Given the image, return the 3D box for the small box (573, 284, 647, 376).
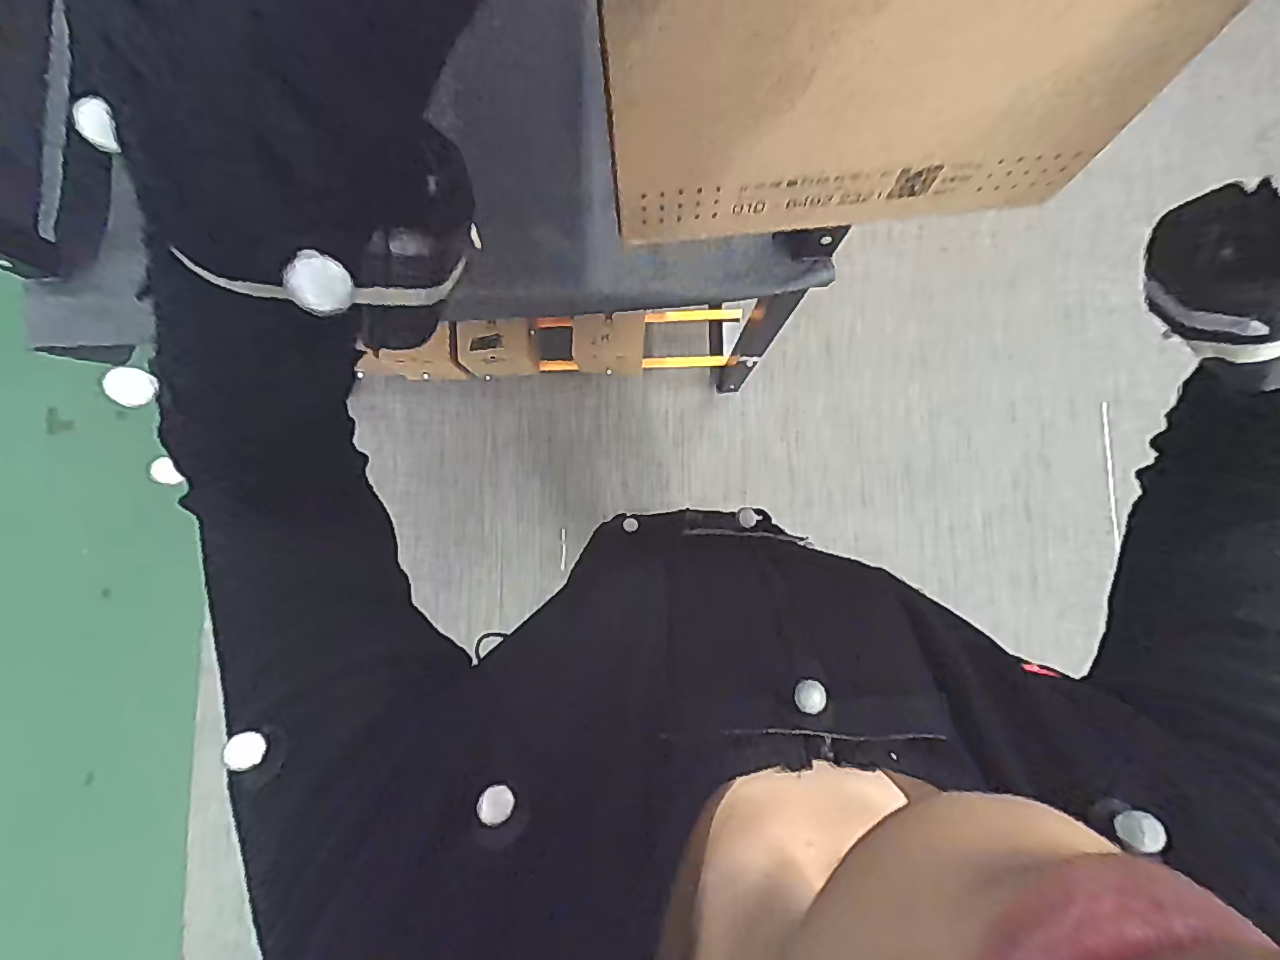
[{"bbox_3d":[-0.070,-0.374,1.365,0.168,0.176,0.179,4,87,2],"label":"small box"}]
